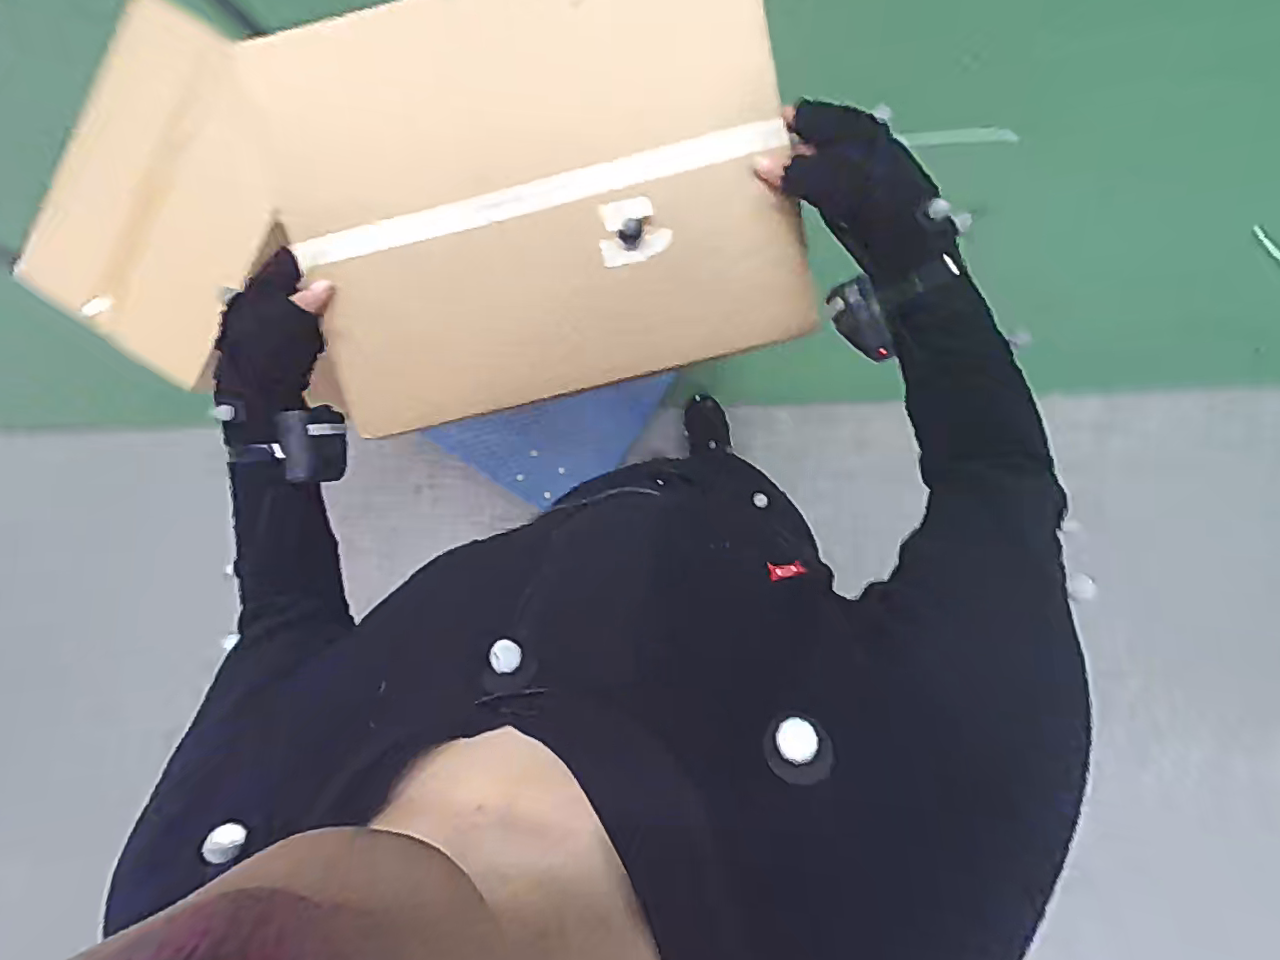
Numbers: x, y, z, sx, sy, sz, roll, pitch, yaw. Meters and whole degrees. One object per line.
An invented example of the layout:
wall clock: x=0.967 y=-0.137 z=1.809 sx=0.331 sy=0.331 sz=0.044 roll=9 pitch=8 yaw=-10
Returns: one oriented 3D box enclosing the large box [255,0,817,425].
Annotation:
large box: x=-0.079 y=-0.263 z=0.586 sx=0.408 sy=0.320 sz=0.320 roll=-13 pitch=101 yaw=1
